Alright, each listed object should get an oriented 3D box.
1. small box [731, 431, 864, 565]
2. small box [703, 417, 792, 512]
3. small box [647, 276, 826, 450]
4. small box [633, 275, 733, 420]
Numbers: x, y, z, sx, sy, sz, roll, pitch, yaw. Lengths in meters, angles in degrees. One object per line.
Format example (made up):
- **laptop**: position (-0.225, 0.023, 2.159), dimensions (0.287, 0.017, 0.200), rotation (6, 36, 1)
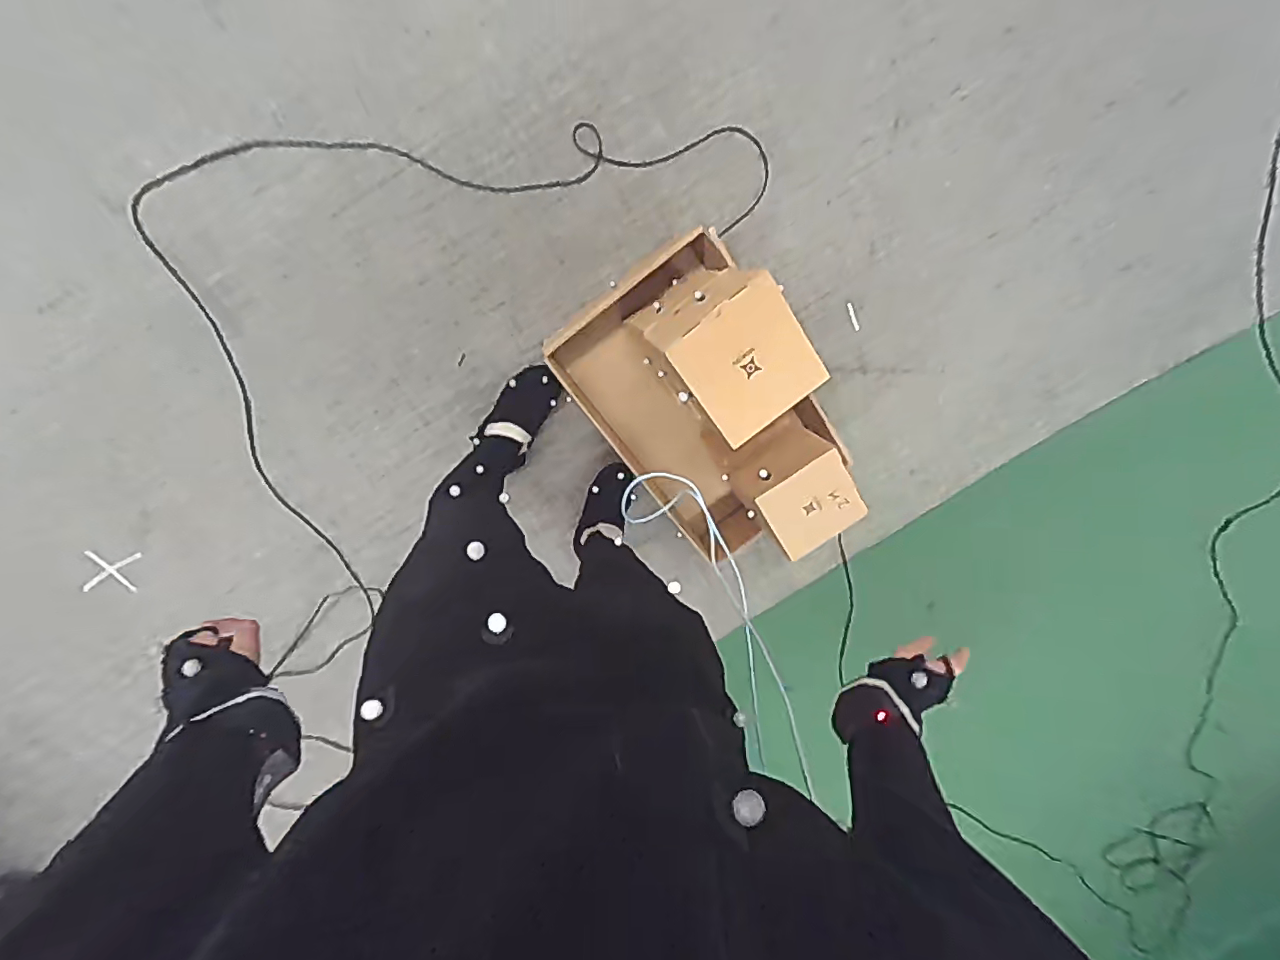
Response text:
- **small box**: position (0.298, 0.029, 1.068), dimensions (0.179, 0.176, 0.168), rotation (-34, 113, 2)
- **small box**: position (0.263, -0.038, 1.215), dimensions (0.168, 0.176, 0.179), rotation (-33, 111, 2)
- **small box**: position (0.131, -0.178, 0.791), dimensions (0.168, 0.176, 0.179), rotation (-37, 111, 6)
- **small box**: position (0.105, -0.233, 0.940), dimensions (0.168, 0.176, 0.179), rotation (-33, 113, 4)
